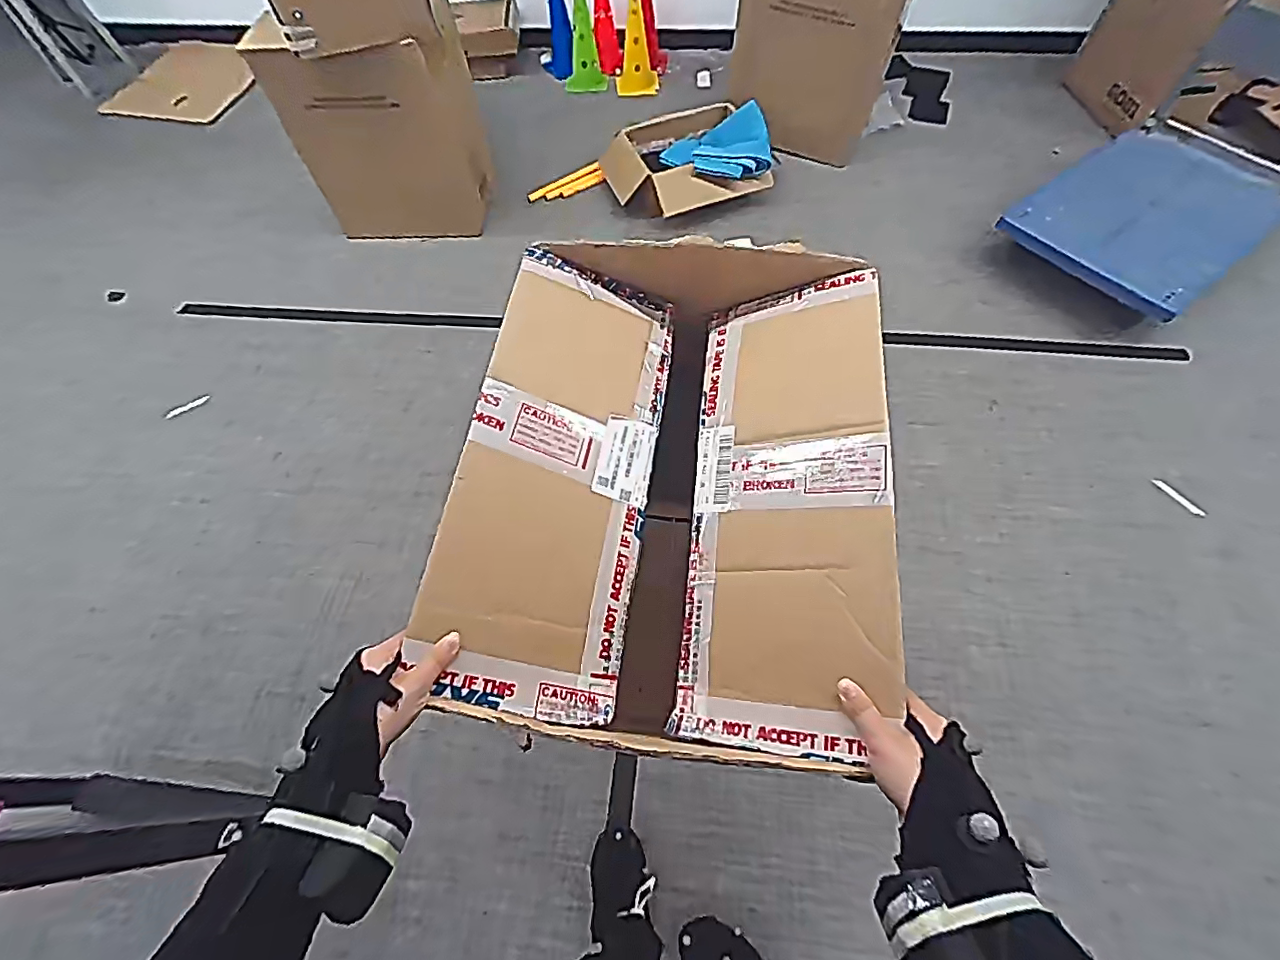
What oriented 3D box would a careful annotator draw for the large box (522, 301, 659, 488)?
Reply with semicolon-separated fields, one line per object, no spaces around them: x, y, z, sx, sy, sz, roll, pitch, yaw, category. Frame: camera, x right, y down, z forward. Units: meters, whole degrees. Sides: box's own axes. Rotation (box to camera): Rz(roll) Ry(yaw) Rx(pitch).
-0.111;-0.230;1.485;0.320;0.320;0.408;3;62;5;large box
